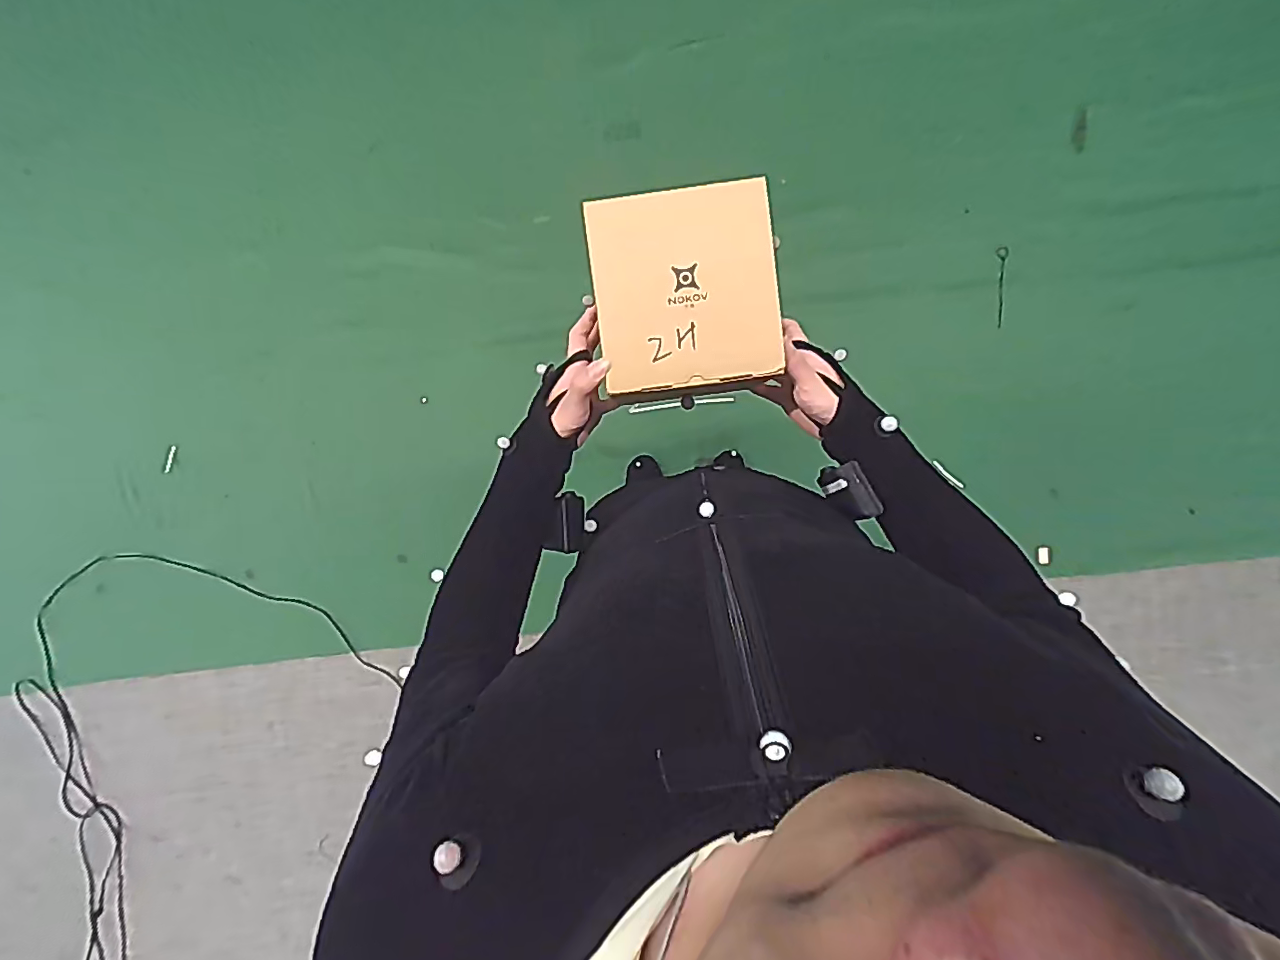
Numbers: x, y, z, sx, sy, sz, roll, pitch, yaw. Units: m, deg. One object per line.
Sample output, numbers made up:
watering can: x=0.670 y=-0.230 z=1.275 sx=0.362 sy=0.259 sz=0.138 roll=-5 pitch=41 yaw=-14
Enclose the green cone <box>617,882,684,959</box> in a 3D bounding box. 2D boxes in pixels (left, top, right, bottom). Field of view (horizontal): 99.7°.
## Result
green cone: x=0.024 y=1.377 z=1.539 sx=0.202 sy=0.368 sz=0.200 roll=-5 pitch=92 yaw=3
